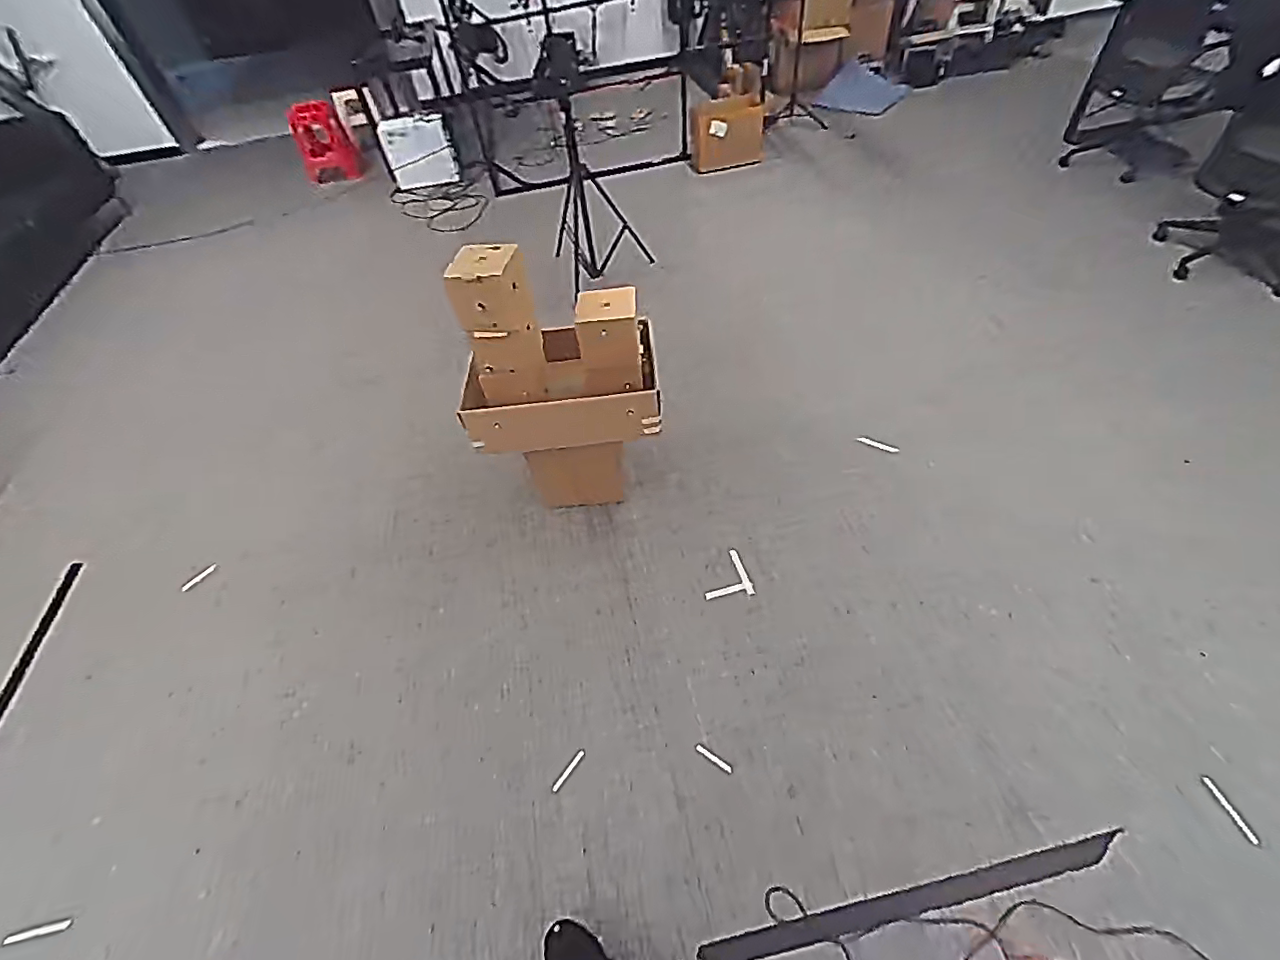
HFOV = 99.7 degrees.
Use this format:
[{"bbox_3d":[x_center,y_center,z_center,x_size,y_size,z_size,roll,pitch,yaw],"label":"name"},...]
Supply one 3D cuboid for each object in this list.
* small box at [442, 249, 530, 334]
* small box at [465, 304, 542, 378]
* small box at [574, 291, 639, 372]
[{"bbox_3d":[-0.424,-0.528,1.524,0.168,0.176,0.179,3,50,9],"label":"small box"},{"bbox_3d":[-0.409,-0.426,1.653,0.168,0.176,0.179,-1,49,7],"label":"small box"},{"bbox_3d":[-0.094,-0.446,1.631,0.179,0.176,0.168,-5,49,4],"label":"small box"}]
